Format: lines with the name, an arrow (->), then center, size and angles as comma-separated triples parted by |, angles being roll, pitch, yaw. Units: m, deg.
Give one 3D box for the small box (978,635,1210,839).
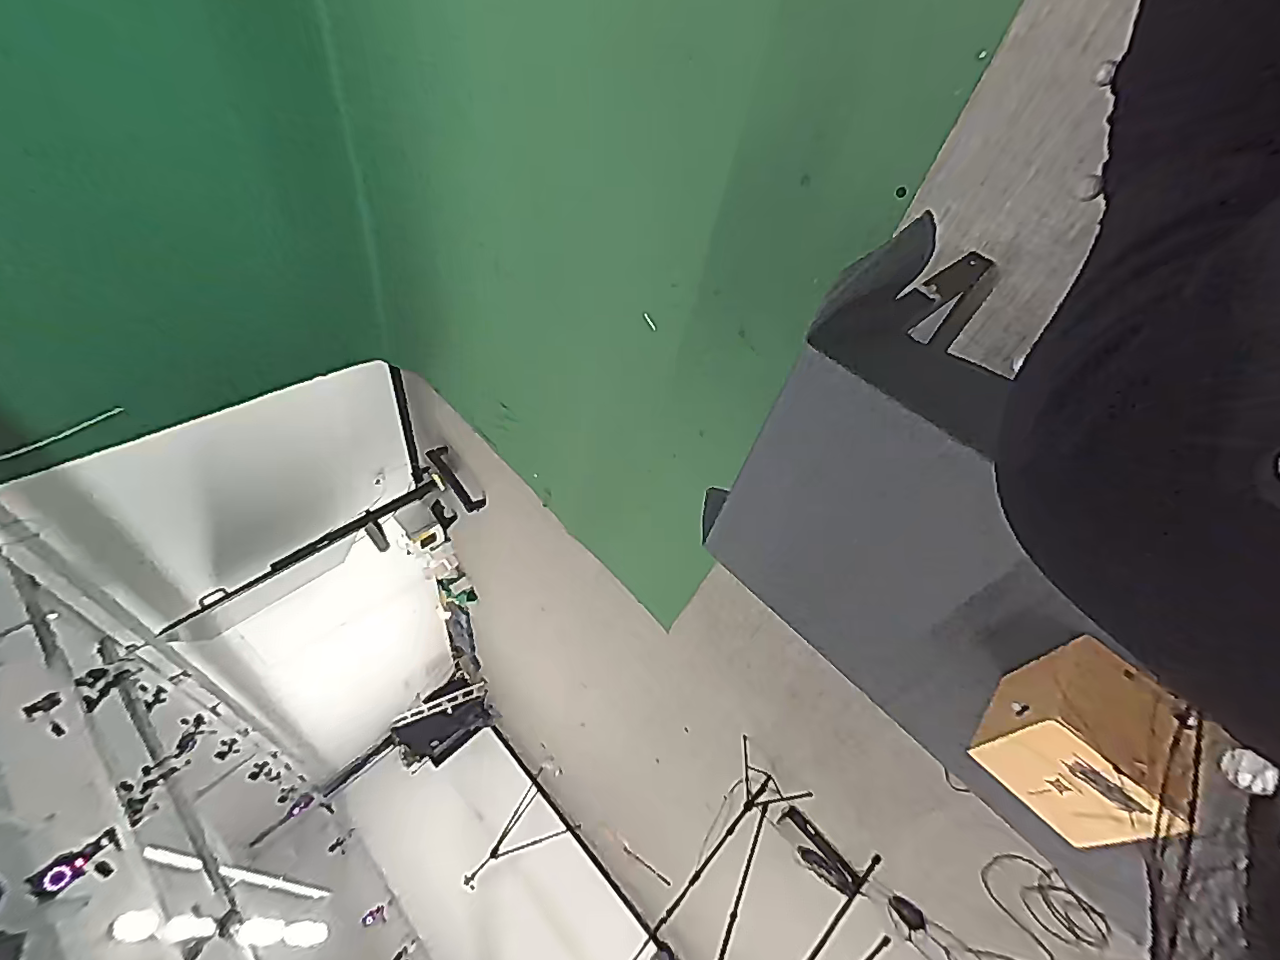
small box -> 0.620, 0.347, 0.743 | 0.168, 0.176, 0.179 | 42, 145, 22
